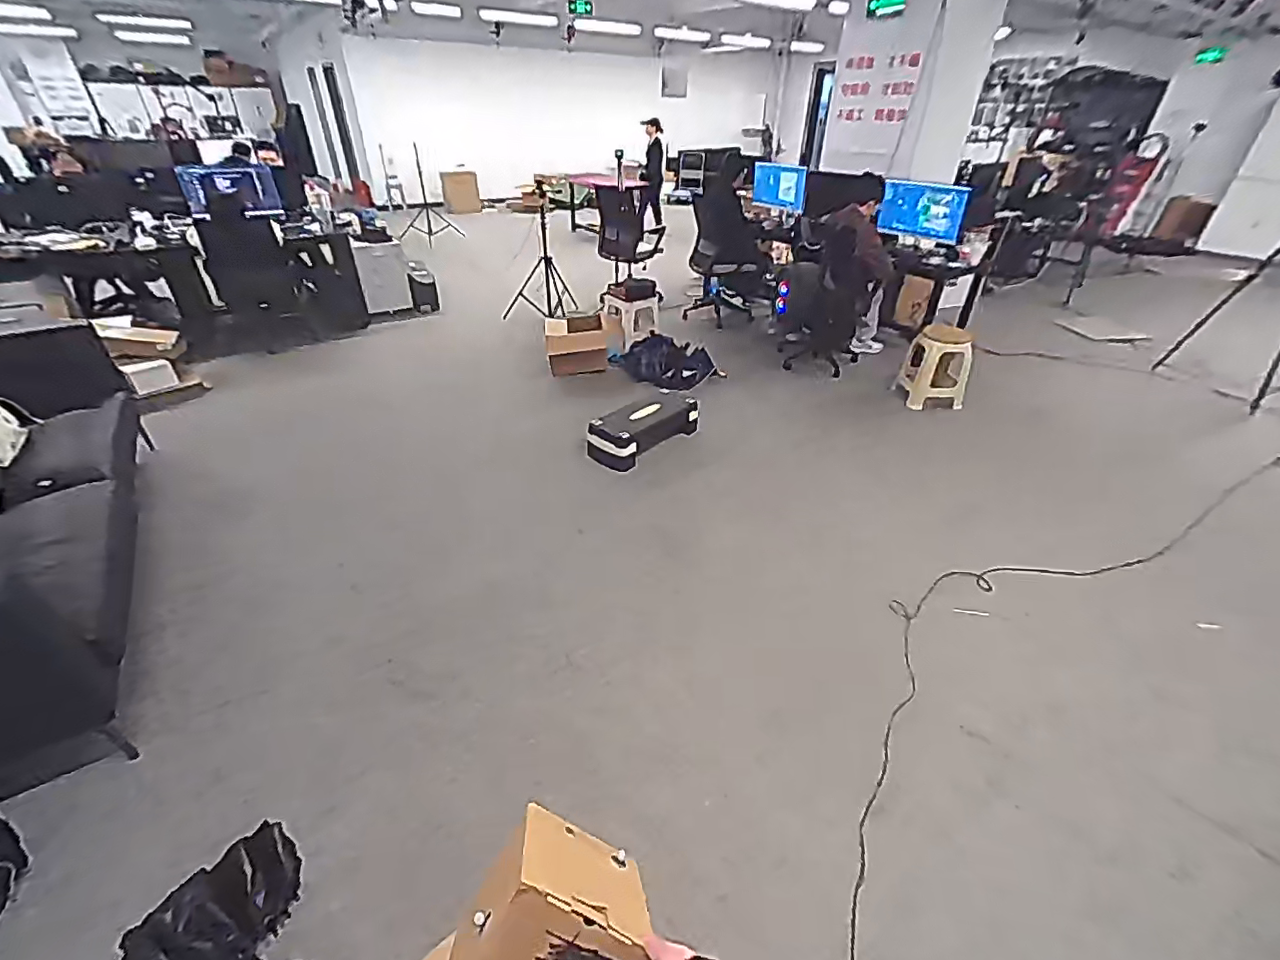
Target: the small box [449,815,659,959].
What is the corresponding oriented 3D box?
[{"bbox_3d":[-0.105,0.517,0.593,0.168,0.176,0.179,32,80,-4],"label":"small box"}]
